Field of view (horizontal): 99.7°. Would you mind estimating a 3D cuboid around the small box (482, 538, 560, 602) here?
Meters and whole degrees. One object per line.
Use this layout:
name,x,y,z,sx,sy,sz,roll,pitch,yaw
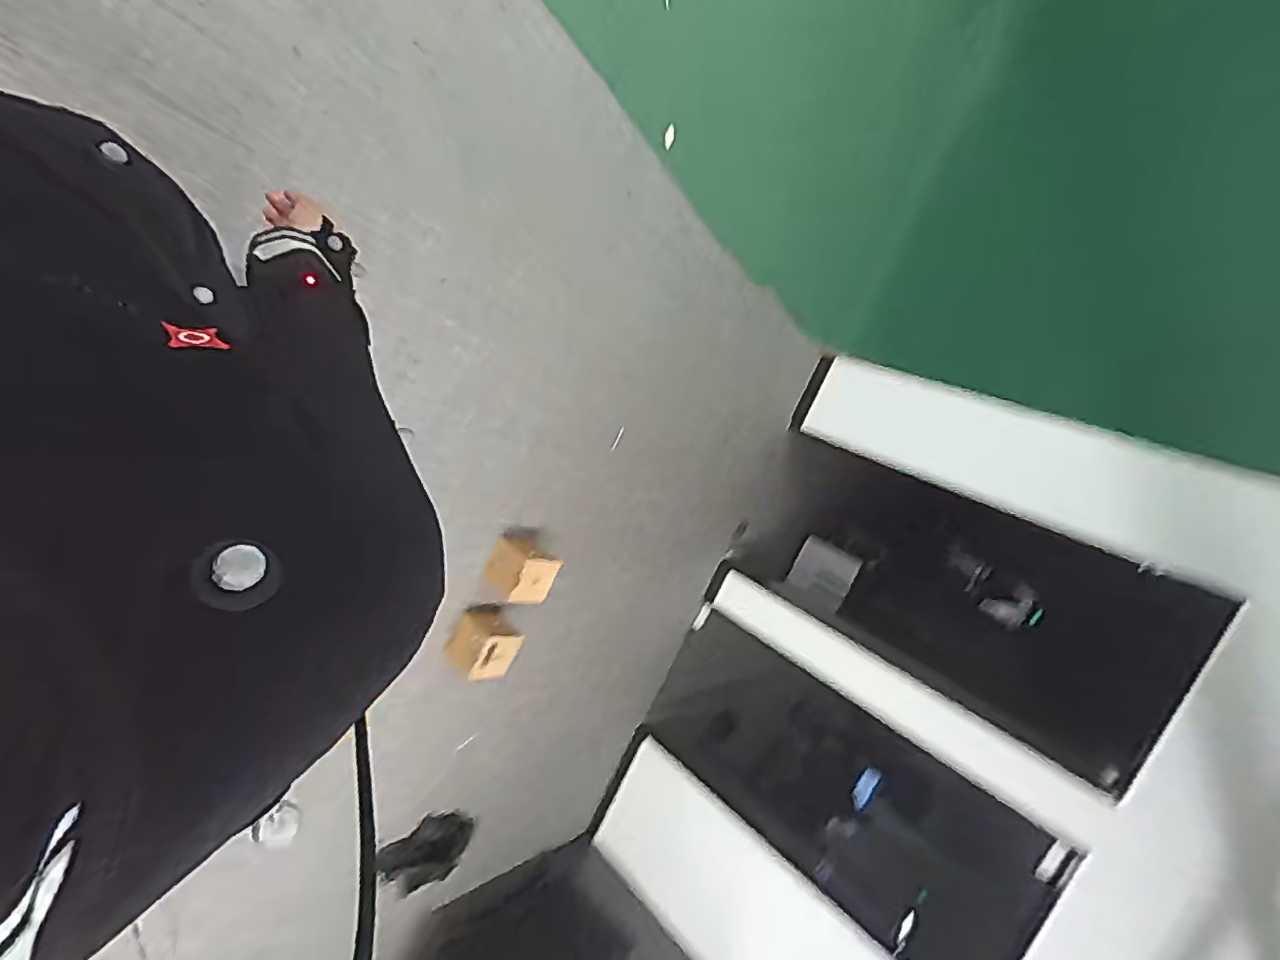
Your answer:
small box,-0.425,0.319,1.924,0.179,0.176,0.168,17,101,-54
